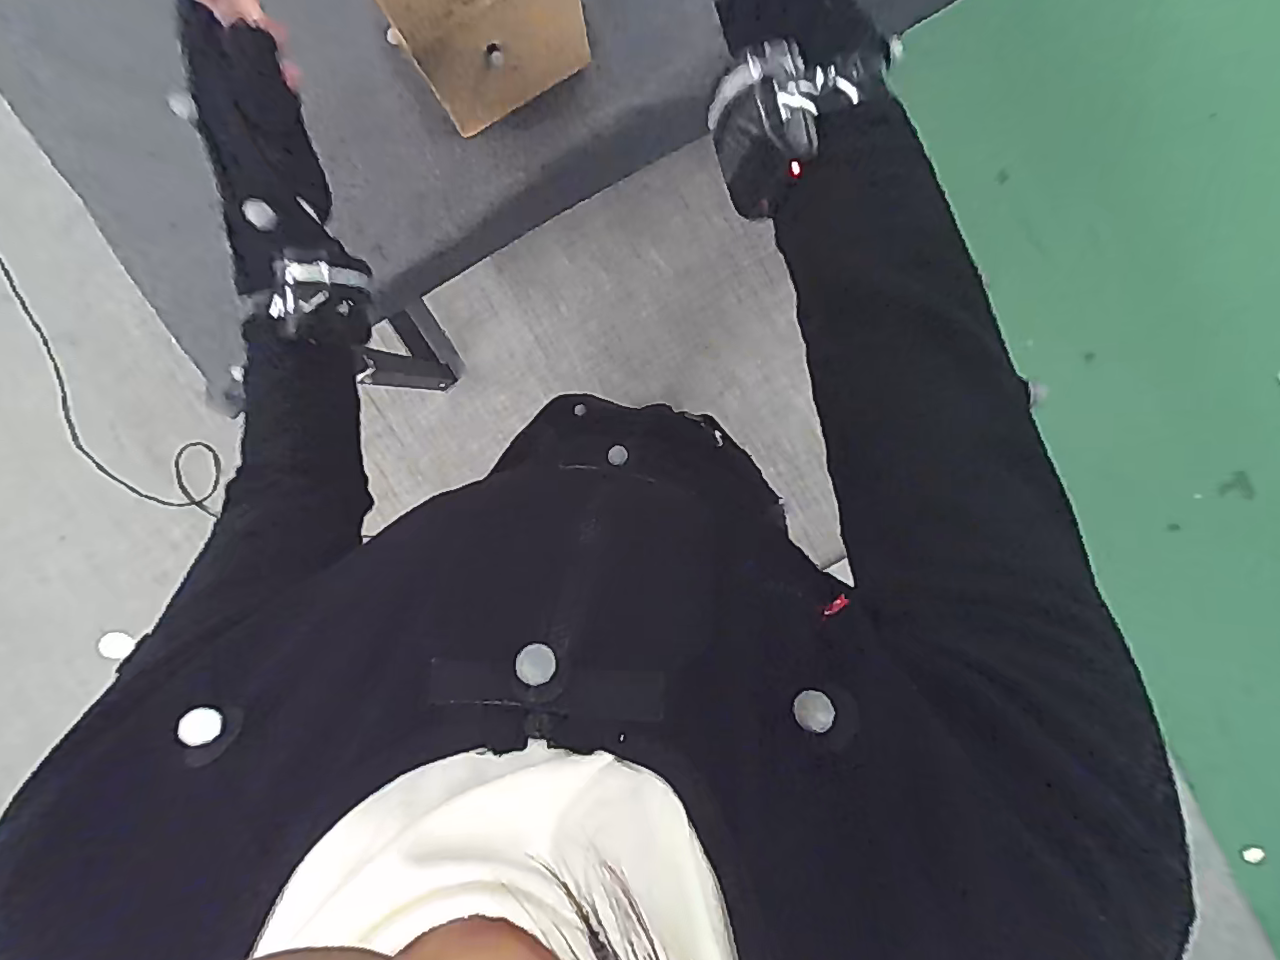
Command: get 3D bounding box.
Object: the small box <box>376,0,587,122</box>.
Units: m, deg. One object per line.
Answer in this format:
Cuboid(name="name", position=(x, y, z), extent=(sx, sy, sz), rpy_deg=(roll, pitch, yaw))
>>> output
Cuboid(name="small box", position=(-0.173, -0.514, 0.546), extent=(0.179, 0.176, 0.168), rpy_deg=(-28, 95, 6))
